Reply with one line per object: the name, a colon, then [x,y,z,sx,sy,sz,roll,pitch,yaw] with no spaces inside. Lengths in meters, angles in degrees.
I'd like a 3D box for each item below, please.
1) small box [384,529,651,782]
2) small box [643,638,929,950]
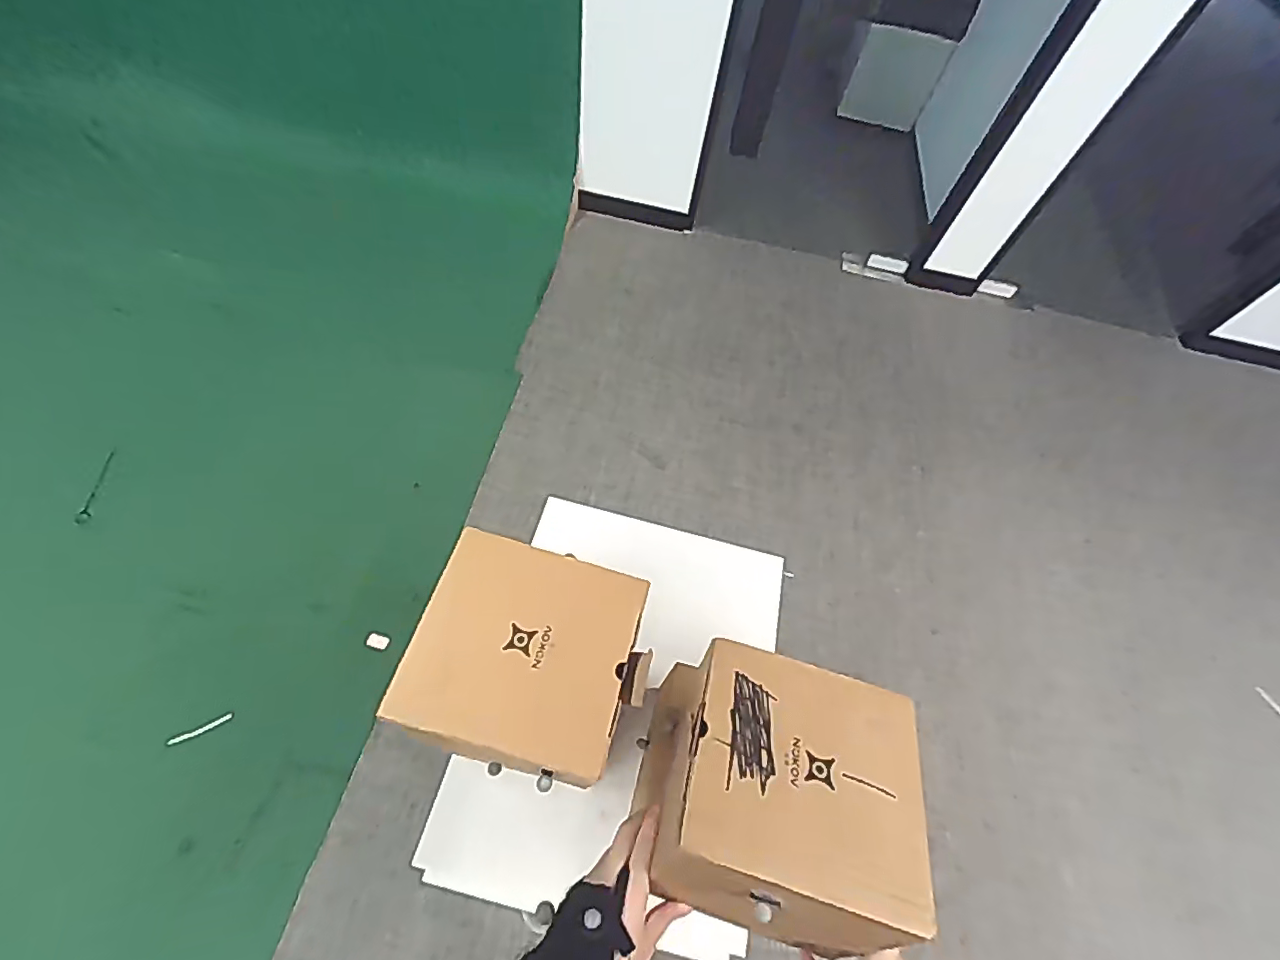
small box: [-0.105,0.175,0.515,0.179,0.176,0.168,17,57,-1]
small box: [0.112,0.272,0.467,0.179,0.176,0.168,18,44,4]
